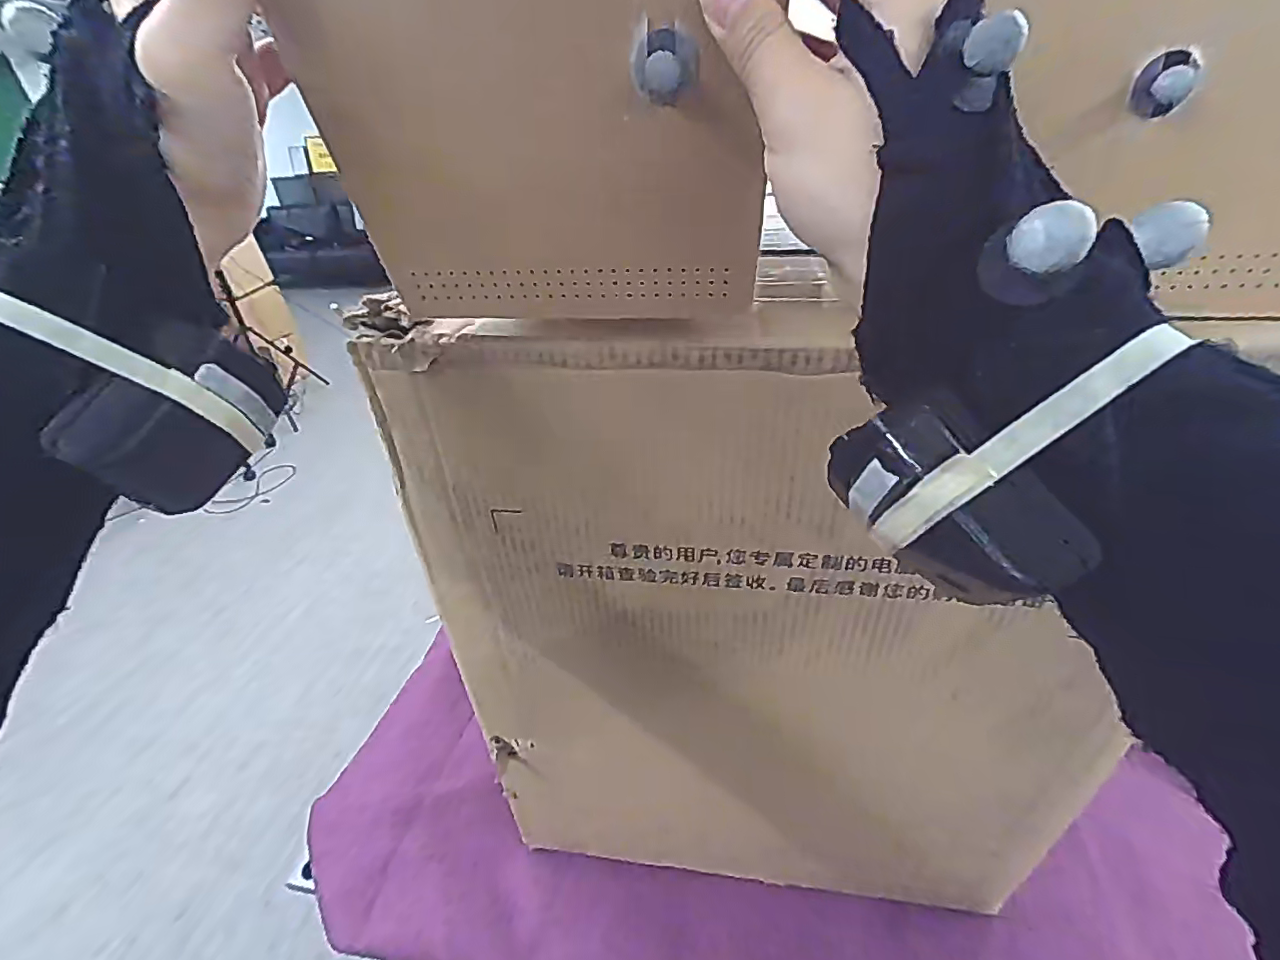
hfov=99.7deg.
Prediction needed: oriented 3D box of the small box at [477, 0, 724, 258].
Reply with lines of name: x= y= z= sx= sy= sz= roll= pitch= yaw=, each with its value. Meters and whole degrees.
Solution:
small box: x=-0.017 y=-0.298 z=0.473 sx=0.168 sy=0.176 sz=0.179 roll=5 pitch=34 yaw=9
